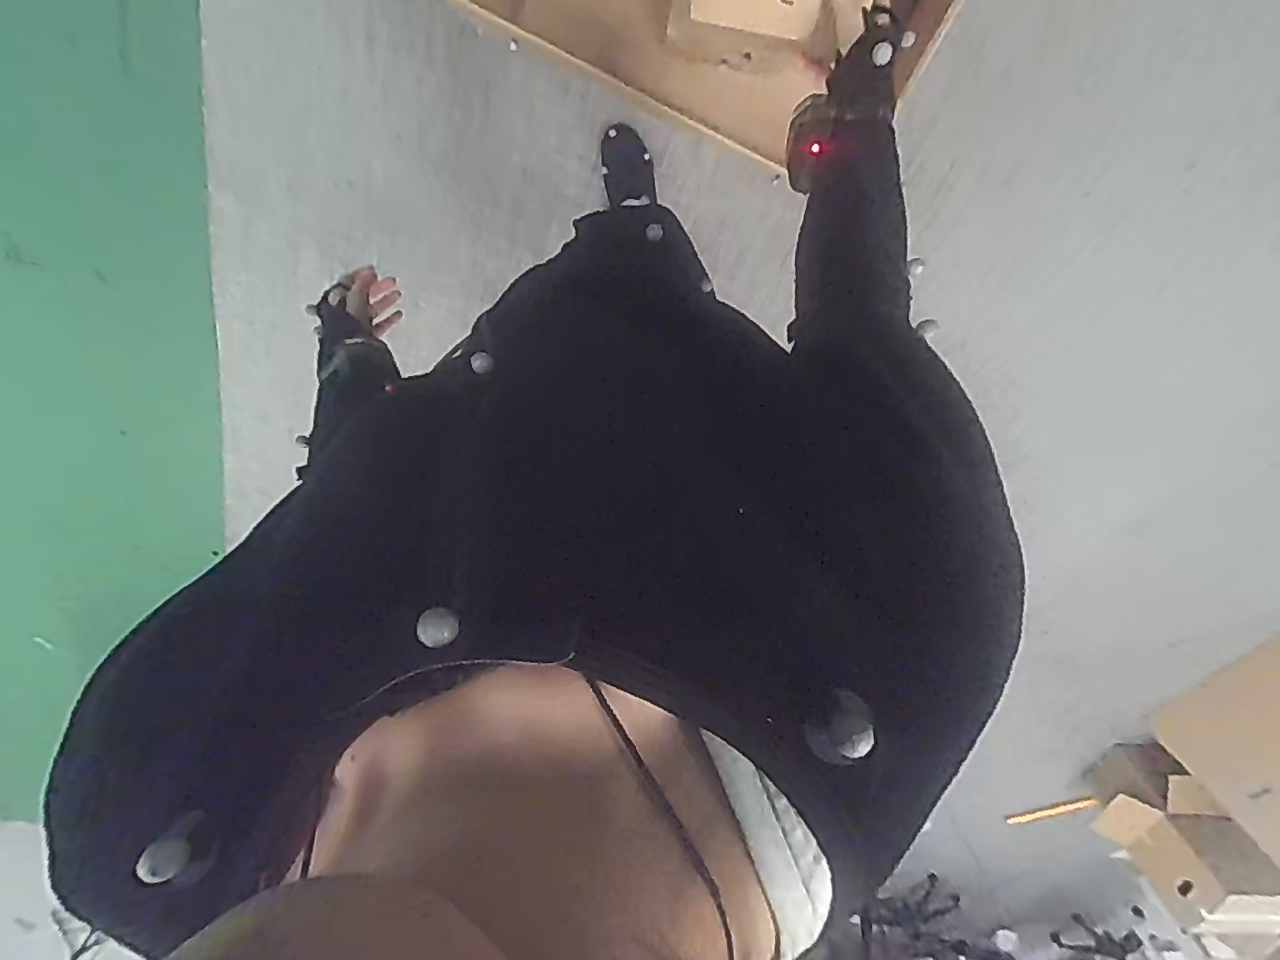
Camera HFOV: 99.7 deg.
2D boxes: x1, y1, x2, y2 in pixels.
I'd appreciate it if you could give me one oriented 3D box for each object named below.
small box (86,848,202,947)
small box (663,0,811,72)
[{"bbox_3d":[-1.344,1.139,1.479,0.179,0.176,0.168,22,121,-15],"label":"small box"},{"bbox_3d":[0.126,-0.637,0.677,0.168,0.176,0.179,9,123,-6],"label":"small box"}]
